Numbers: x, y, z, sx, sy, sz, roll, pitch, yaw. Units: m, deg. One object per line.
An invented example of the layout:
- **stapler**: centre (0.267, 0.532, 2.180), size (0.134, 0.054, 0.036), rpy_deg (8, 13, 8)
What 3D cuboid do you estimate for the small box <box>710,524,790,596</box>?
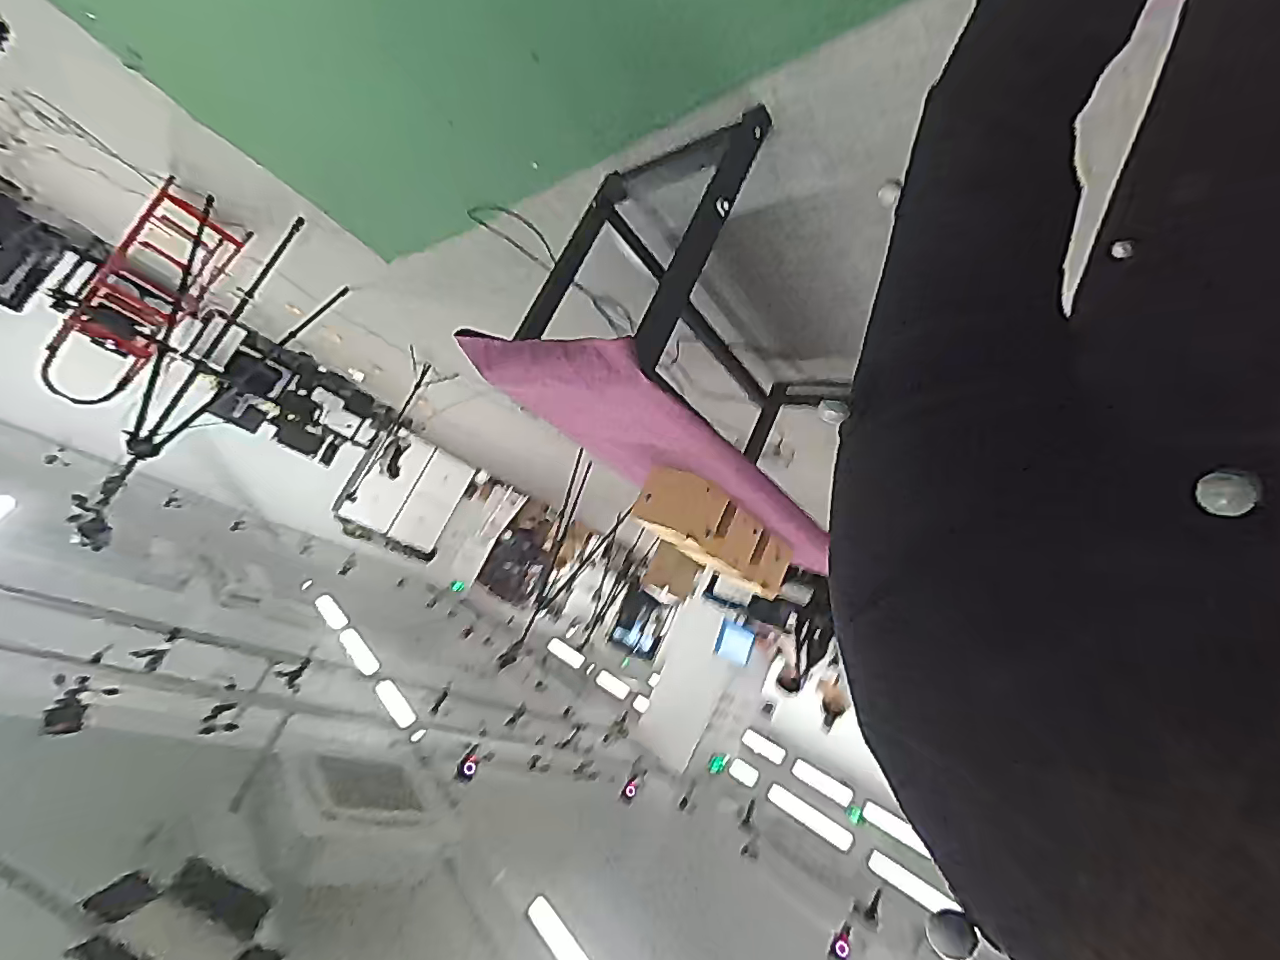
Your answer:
- **small box**: centre (0.369, 0.260, 1.802), size (0.179, 0.176, 0.168), rpy_deg (12, 162, 46)
